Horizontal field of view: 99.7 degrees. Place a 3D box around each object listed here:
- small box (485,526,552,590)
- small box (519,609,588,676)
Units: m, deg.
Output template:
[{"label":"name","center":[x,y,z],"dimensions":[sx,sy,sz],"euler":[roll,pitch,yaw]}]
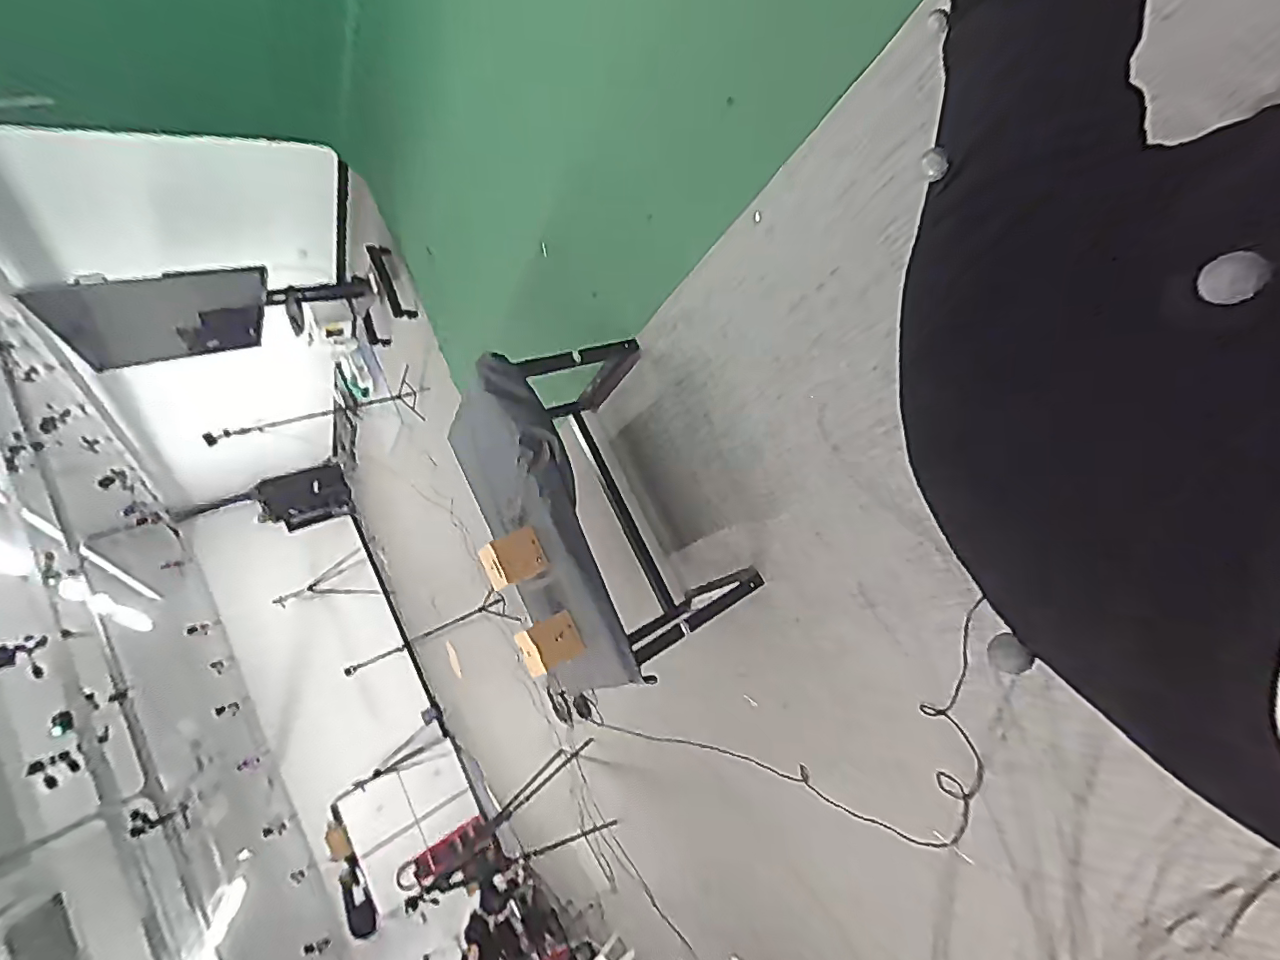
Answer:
[{"label":"small box","center":[-0.445,0.286,1.989],"dimensions":[0.179,0.176,0.168],"euler":[-35,78,56]},{"label":"small box","center":[-0.310,0.587,1.963],"dimensions":[0.179,0.176,0.168],"euler":[-40,74,53]}]
